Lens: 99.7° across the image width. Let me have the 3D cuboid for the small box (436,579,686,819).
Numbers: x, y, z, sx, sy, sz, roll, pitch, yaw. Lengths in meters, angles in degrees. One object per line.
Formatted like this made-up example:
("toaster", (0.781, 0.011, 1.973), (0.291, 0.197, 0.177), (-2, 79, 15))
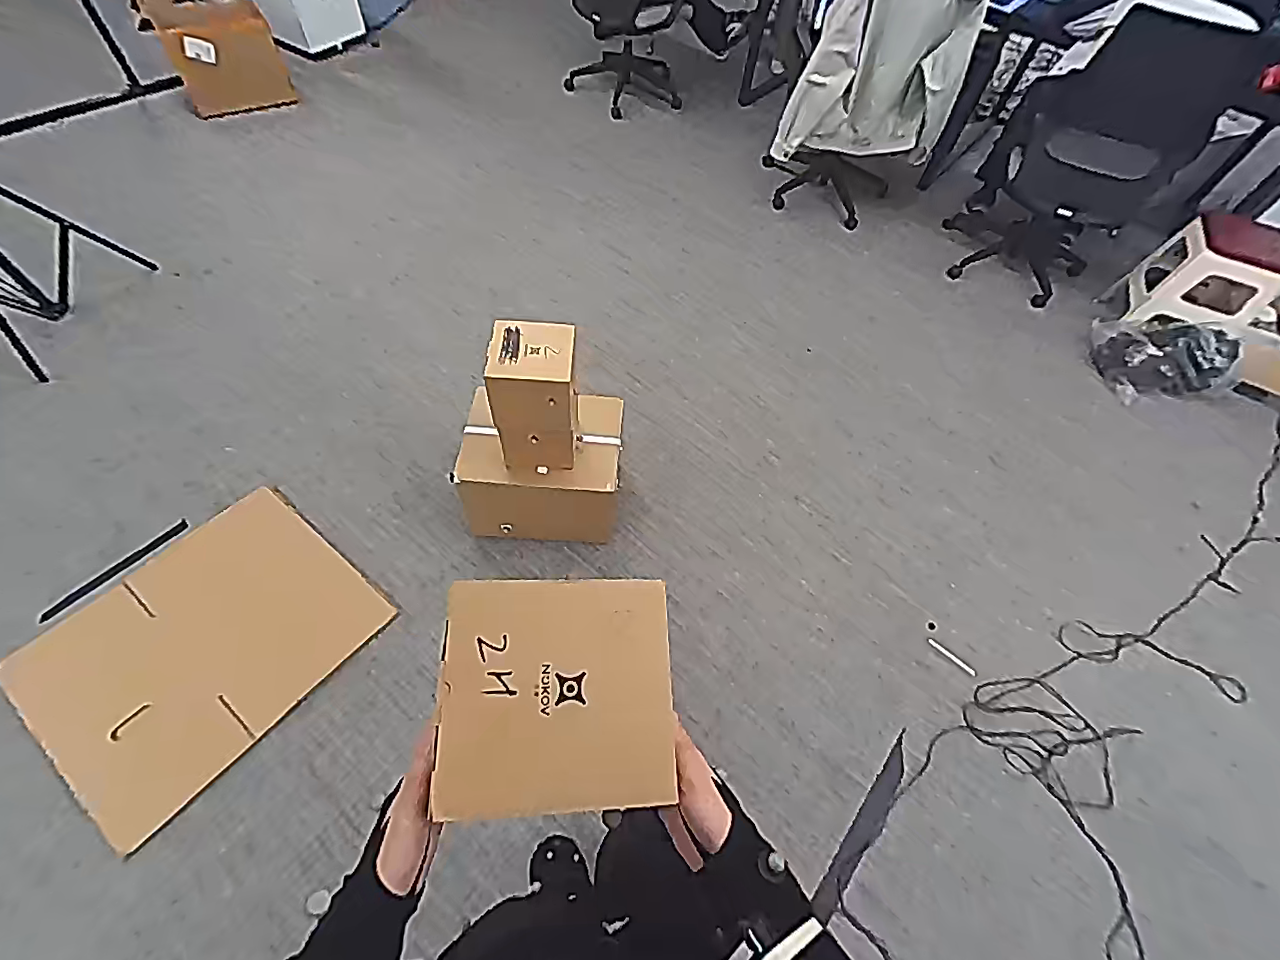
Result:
("small box", (-0.067, 0.187, 0.480), (0.179, 0.176, 0.168), (1, 66, -9))

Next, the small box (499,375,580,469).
("small box", (-0.242, -0.139, 1.339), (0.179, 0.176, 0.168), (3, 59, -5))
